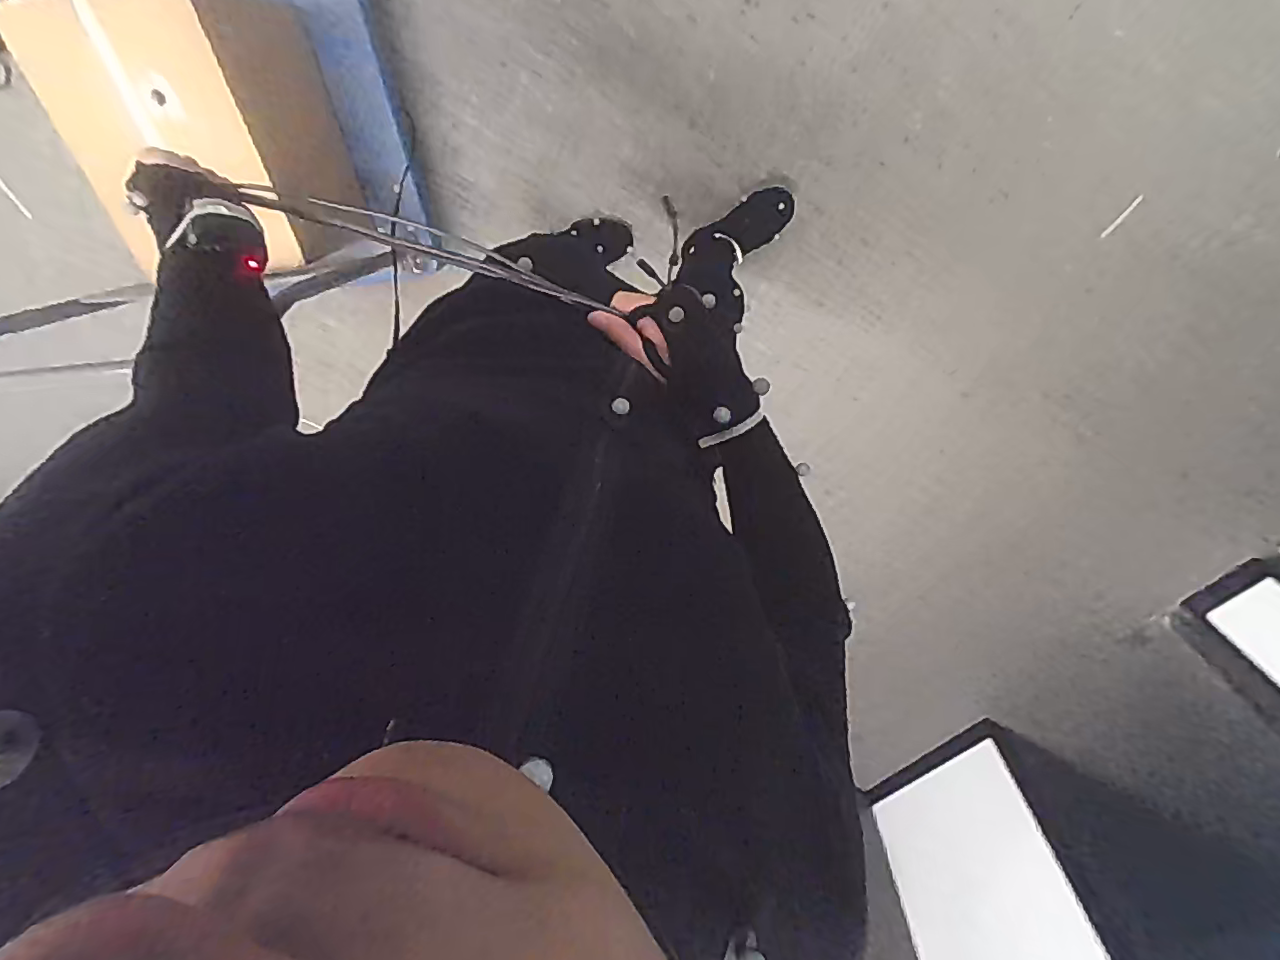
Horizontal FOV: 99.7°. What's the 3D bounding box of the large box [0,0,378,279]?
[{"bbox_3d":[-0.765,-0.630,1.006,0.320,0.320,0.408,-5,123,5],"label":"large box"}]
